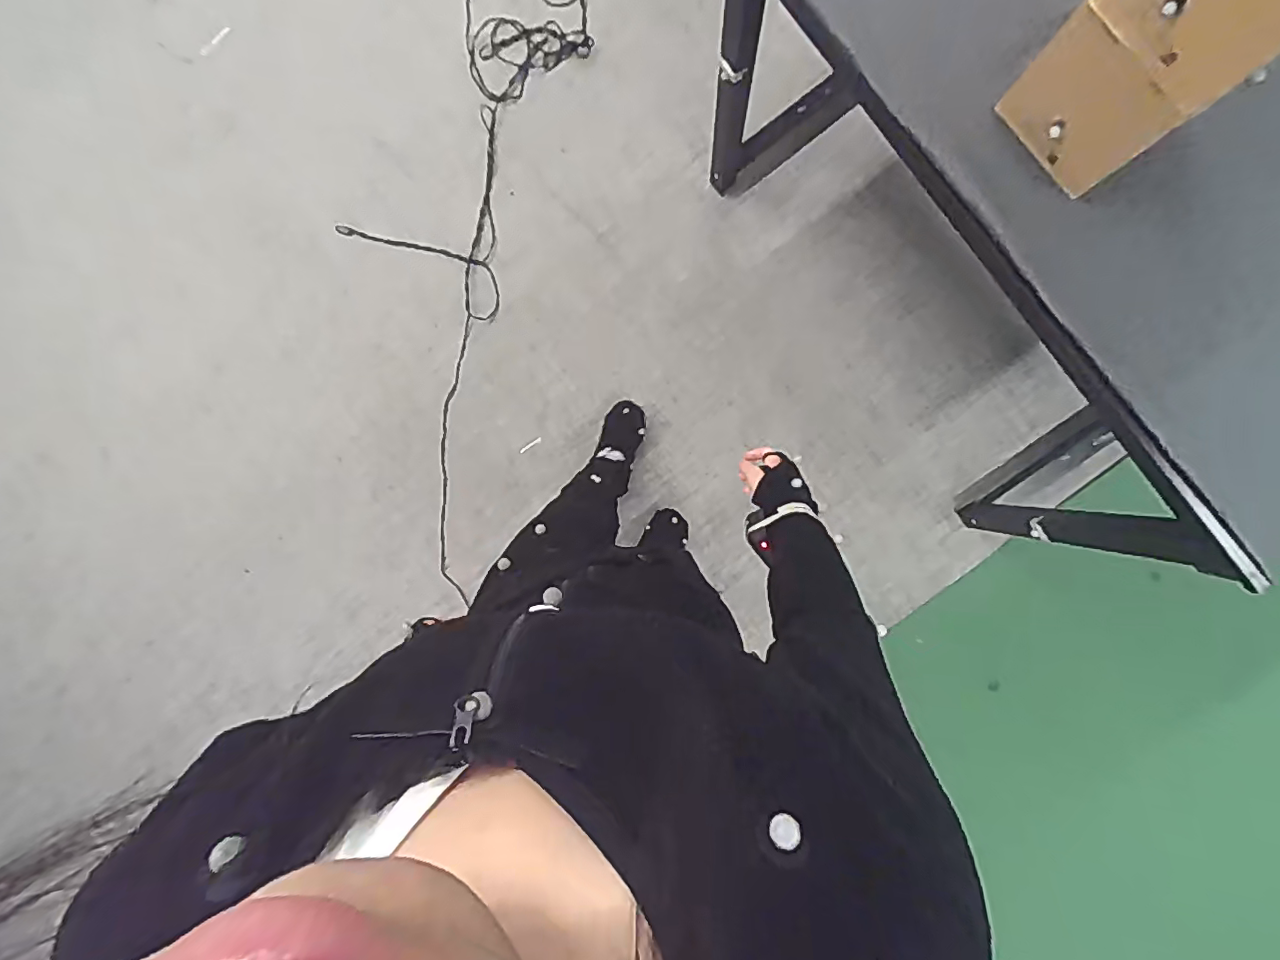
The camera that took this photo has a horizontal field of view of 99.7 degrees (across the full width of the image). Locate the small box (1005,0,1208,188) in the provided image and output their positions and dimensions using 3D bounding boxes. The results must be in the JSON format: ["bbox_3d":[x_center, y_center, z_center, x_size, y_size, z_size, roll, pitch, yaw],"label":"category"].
[{"bbox_3d":[0.588,-0.494,0.633,0.179,0.176,0.168,-38,87,3],"label":"small box"}]

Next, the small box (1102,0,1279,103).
[{"bbox_3d":[0.578,-0.494,0.471,0.179,0.176,0.168,-38,88,3],"label":"small box"}]
